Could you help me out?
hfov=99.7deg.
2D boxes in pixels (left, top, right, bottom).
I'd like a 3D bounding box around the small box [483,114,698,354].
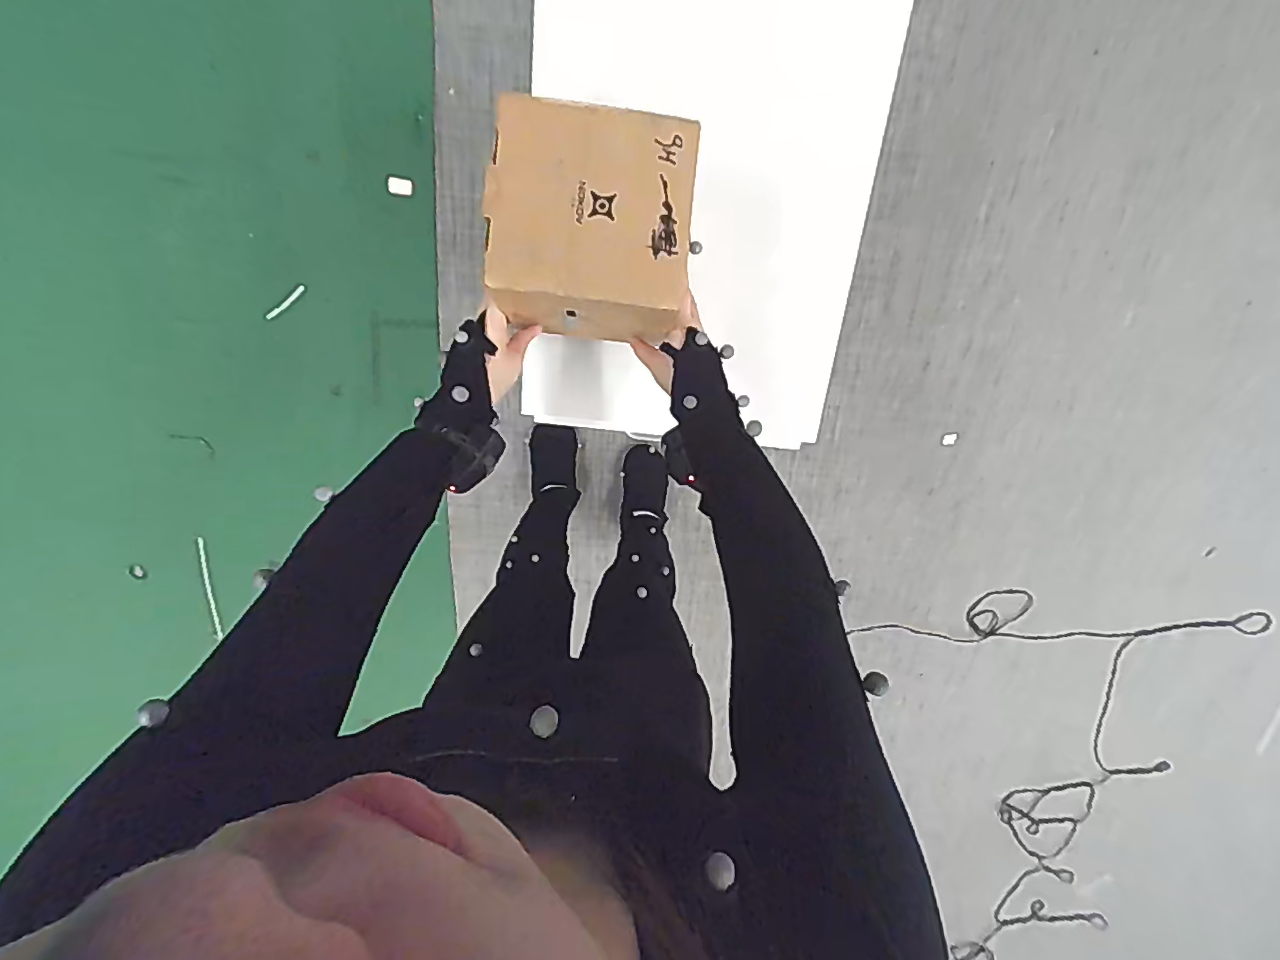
[{"bbox_3d":[-0.047,-0.231,0.554,0.179,0.176,0.168,6,93,-4],"label":"small box"}]
